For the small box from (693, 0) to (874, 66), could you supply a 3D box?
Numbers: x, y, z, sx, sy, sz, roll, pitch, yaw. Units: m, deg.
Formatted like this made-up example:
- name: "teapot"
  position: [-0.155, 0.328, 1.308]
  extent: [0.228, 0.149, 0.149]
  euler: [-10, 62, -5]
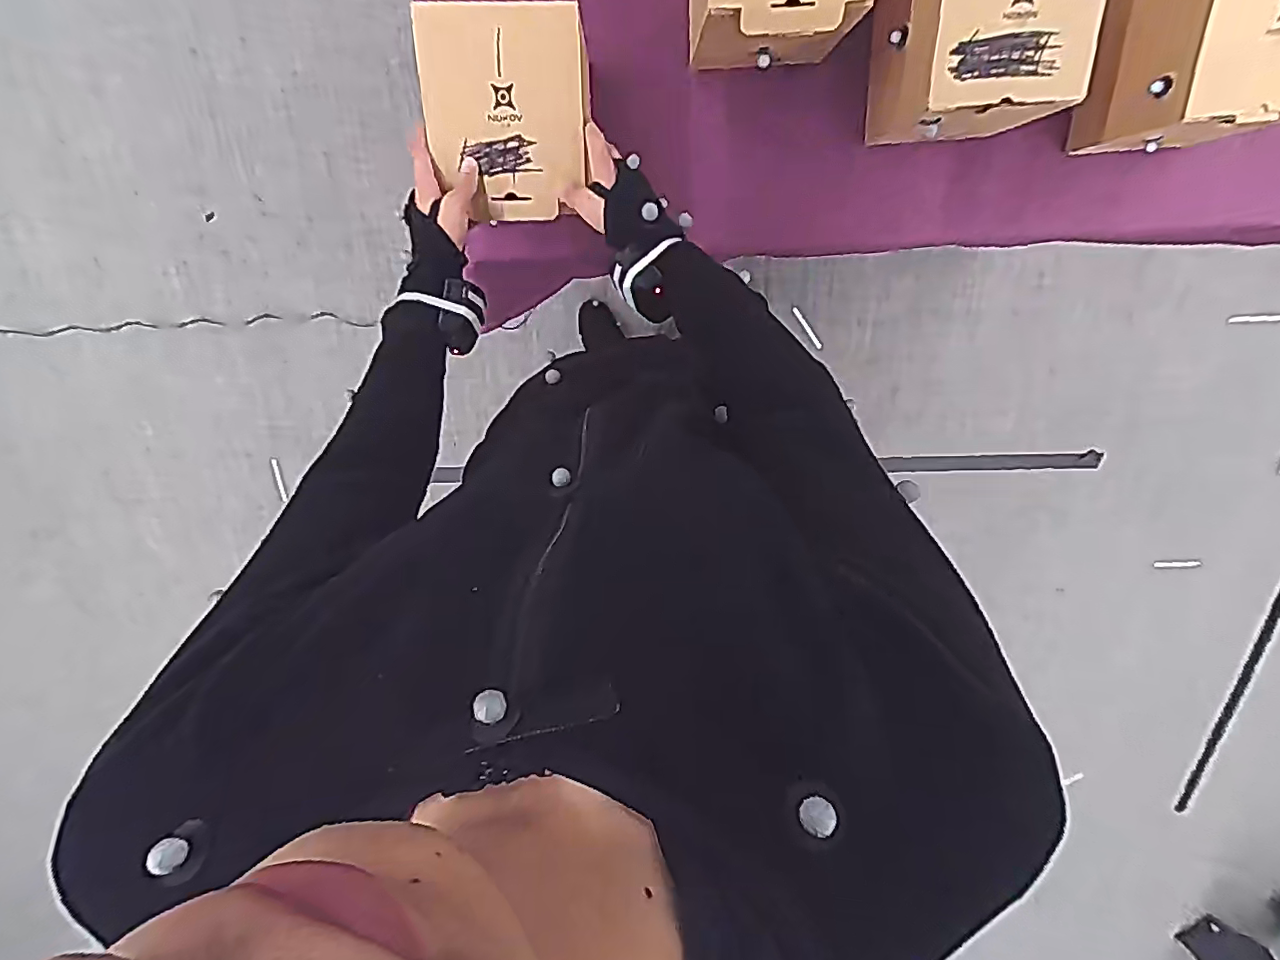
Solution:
- name: "small box"
  position: [0.145, -0.573, 0.570]
  extent: [0.168, 0.176, 0.179]
  euler: [-3, 112, 1]

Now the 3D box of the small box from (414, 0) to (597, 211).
- name: "small box"
  position: [-0.138, -0.415, 0.628]
  extent: [0.168, 0.176, 0.179]
  euler: [-1, 111, -1]

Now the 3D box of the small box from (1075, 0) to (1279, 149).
- name: "small box"
  position: [0.646, -0.497, 0.612]
  extent: [0.168, 0.176, 0.179]
  euler: [-4, 112, 1]
